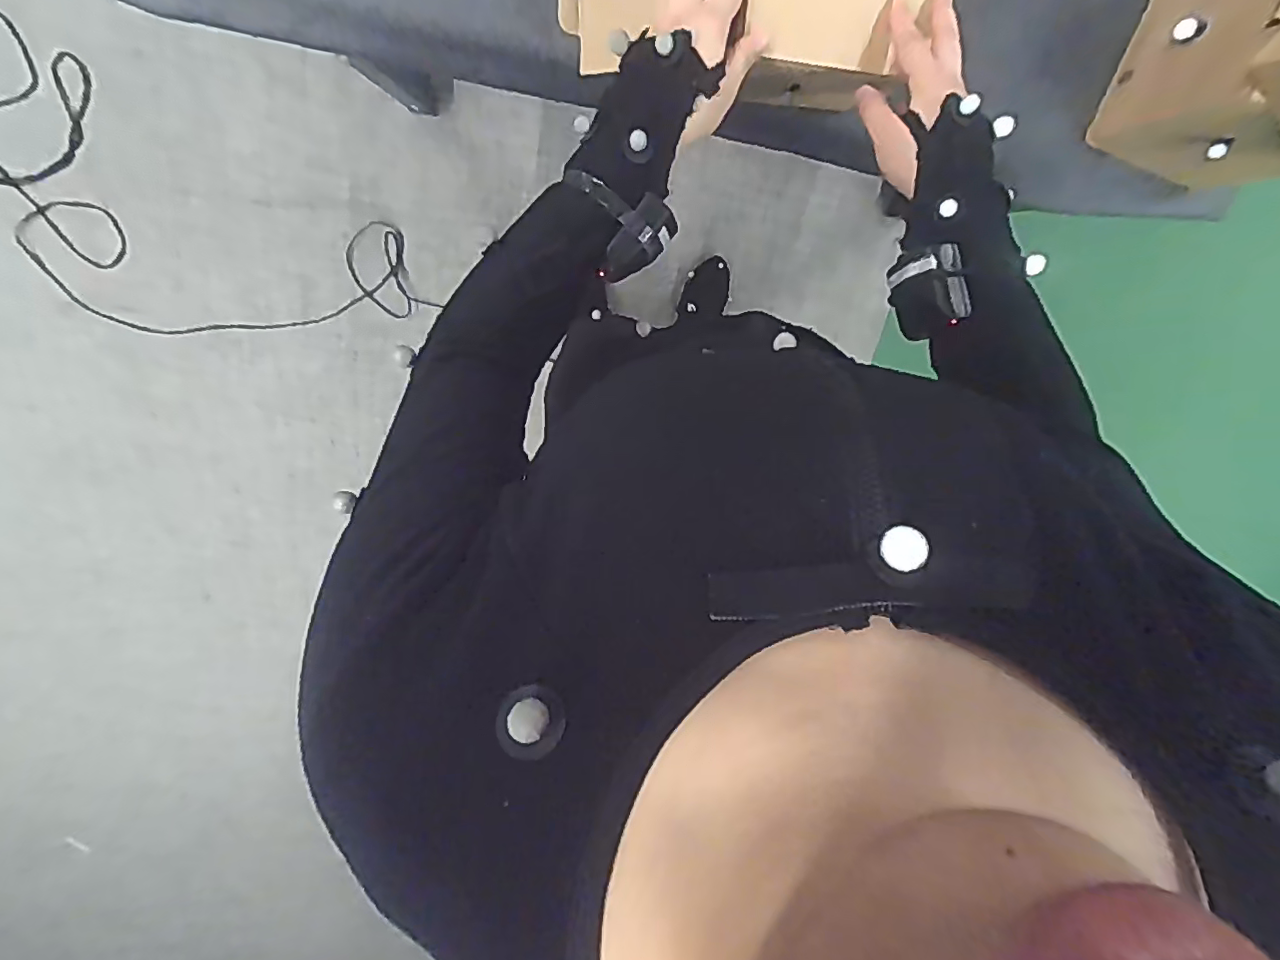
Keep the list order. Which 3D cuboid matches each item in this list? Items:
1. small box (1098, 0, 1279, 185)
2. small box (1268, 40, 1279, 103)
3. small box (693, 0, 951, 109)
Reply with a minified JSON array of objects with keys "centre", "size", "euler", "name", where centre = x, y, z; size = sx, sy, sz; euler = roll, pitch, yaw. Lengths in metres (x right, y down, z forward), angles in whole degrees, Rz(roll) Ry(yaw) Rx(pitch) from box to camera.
[{"centre":[0.627,-0.415,0.538],"size":[0.179,0.176,0.168],"euler":[13,109,-11],"name":"small box"},{"centre":[0.644,-0.341,0.392],"size":[0.179,0.176,0.168],"euler":[34,103,-18],"name":"small box"},{"centre":[0.155,-0.441,0.476],"size":[0.179,0.176,0.168],"euler":[2,117,-6],"name":"small box"}]
